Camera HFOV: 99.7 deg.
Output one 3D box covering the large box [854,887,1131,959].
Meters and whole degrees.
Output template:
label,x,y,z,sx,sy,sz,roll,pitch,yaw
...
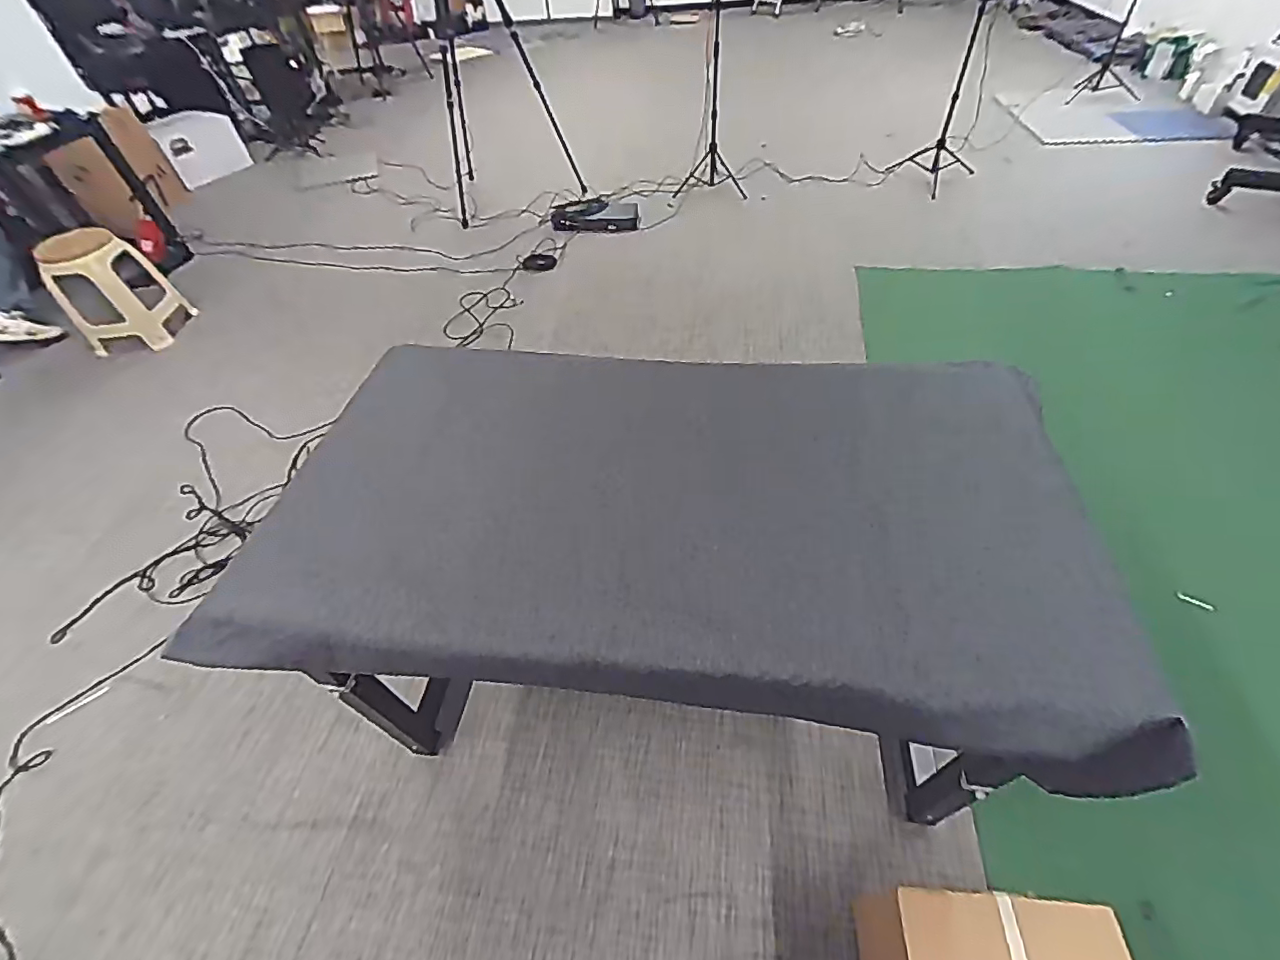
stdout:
label,x,y,z,sx,sy,sz,roll,pitch,yaw
large box,0.546,0.876,0.806,0.320,0.320,0.408,0,49,7
